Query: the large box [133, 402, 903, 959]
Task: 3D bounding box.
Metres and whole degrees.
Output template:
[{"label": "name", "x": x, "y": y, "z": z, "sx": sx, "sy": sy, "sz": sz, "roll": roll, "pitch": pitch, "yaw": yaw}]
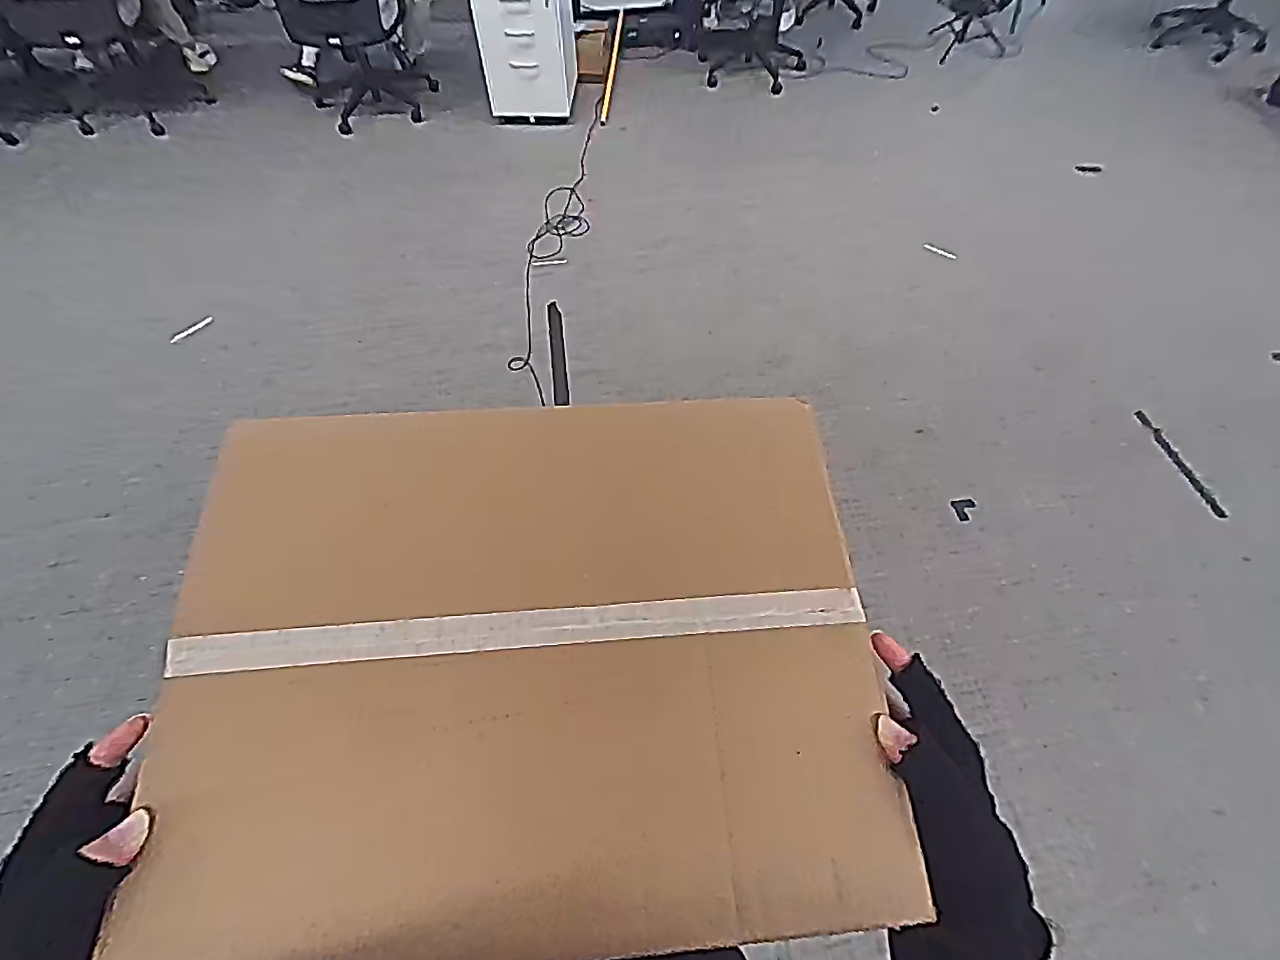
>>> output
[{"label": "large box", "x": -0.073, "y": 0.153, "z": 0.474, "sx": 0.408, "sy": 0.320, "sz": 0.320, "roll": -3, "pitch": 66, "yaw": -4}]
